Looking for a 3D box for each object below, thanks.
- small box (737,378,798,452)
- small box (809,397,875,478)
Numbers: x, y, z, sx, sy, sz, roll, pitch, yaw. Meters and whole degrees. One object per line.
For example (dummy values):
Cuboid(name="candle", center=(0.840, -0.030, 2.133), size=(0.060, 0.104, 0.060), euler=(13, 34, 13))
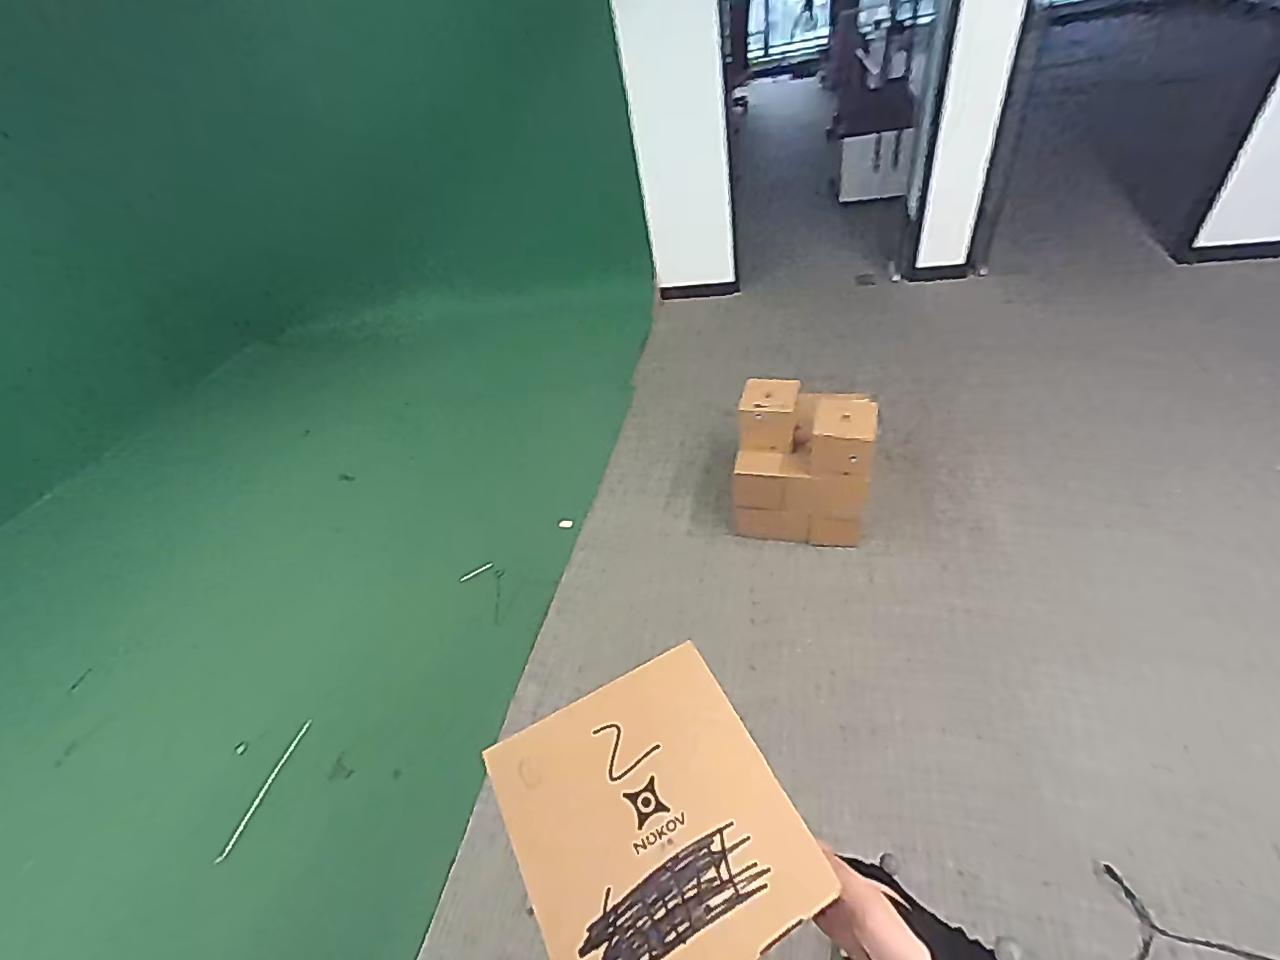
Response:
Cuboid(name="small box", center=(0.416, -0.214, 1.754), size=(0.168, 0.176, 0.179), euler=(5, 44, 21))
Cuboid(name="small box", center=(0.599, -0.126, 1.610), size=(0.168, 0.176, 0.179), euler=(8, 46, 20))
